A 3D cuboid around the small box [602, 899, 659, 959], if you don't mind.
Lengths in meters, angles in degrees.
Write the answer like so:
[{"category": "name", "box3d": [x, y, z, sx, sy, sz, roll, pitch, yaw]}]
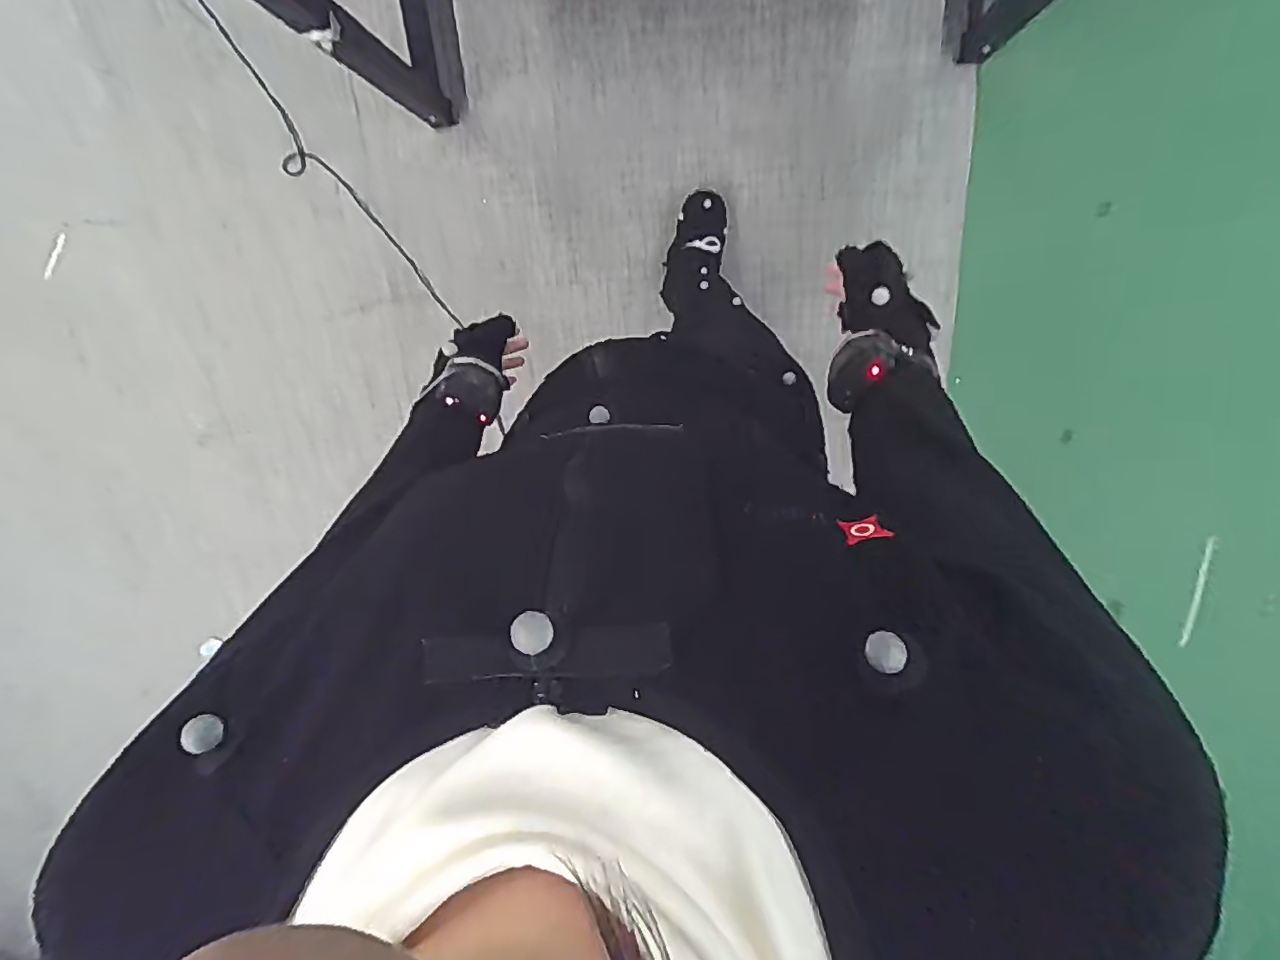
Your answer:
[{"category": "small box", "box3d": [-0.028, 1.600, 1.882, 0.179, 0.176, 0.168, -4, 109, 5]}]
